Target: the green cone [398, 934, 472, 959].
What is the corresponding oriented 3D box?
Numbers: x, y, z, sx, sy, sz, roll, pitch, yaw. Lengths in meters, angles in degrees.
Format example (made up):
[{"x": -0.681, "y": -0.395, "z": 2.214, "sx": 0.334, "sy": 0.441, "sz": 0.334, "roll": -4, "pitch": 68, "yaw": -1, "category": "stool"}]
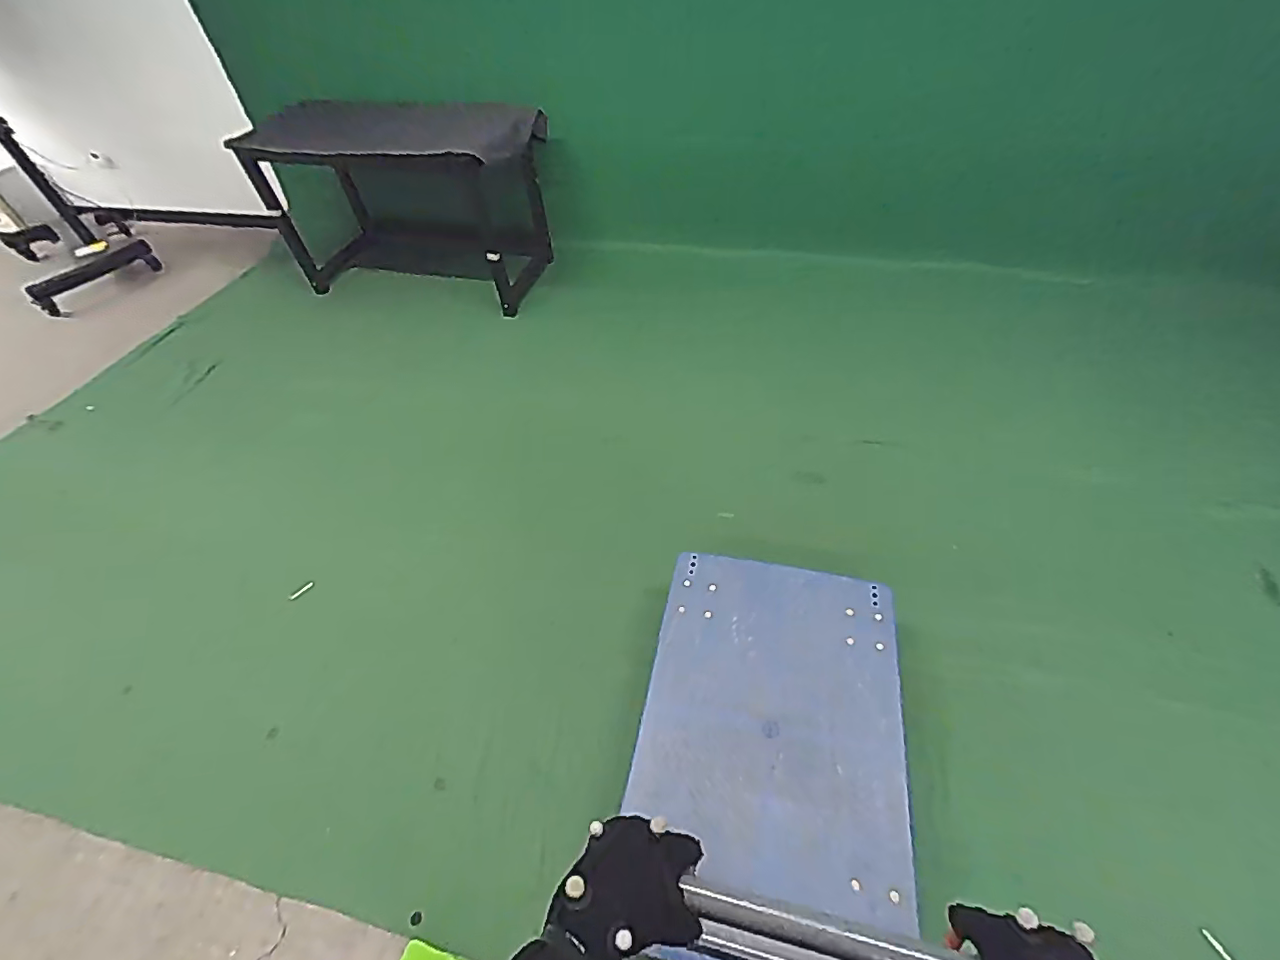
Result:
[{"x": -0.433, "y": 0.935, "z": 0.938, "sx": 0.202, "sy": 0.368, "sz": 0.200, "roll": 12, "pitch": 50, "yaw": 15, "category": "green cone"}]
